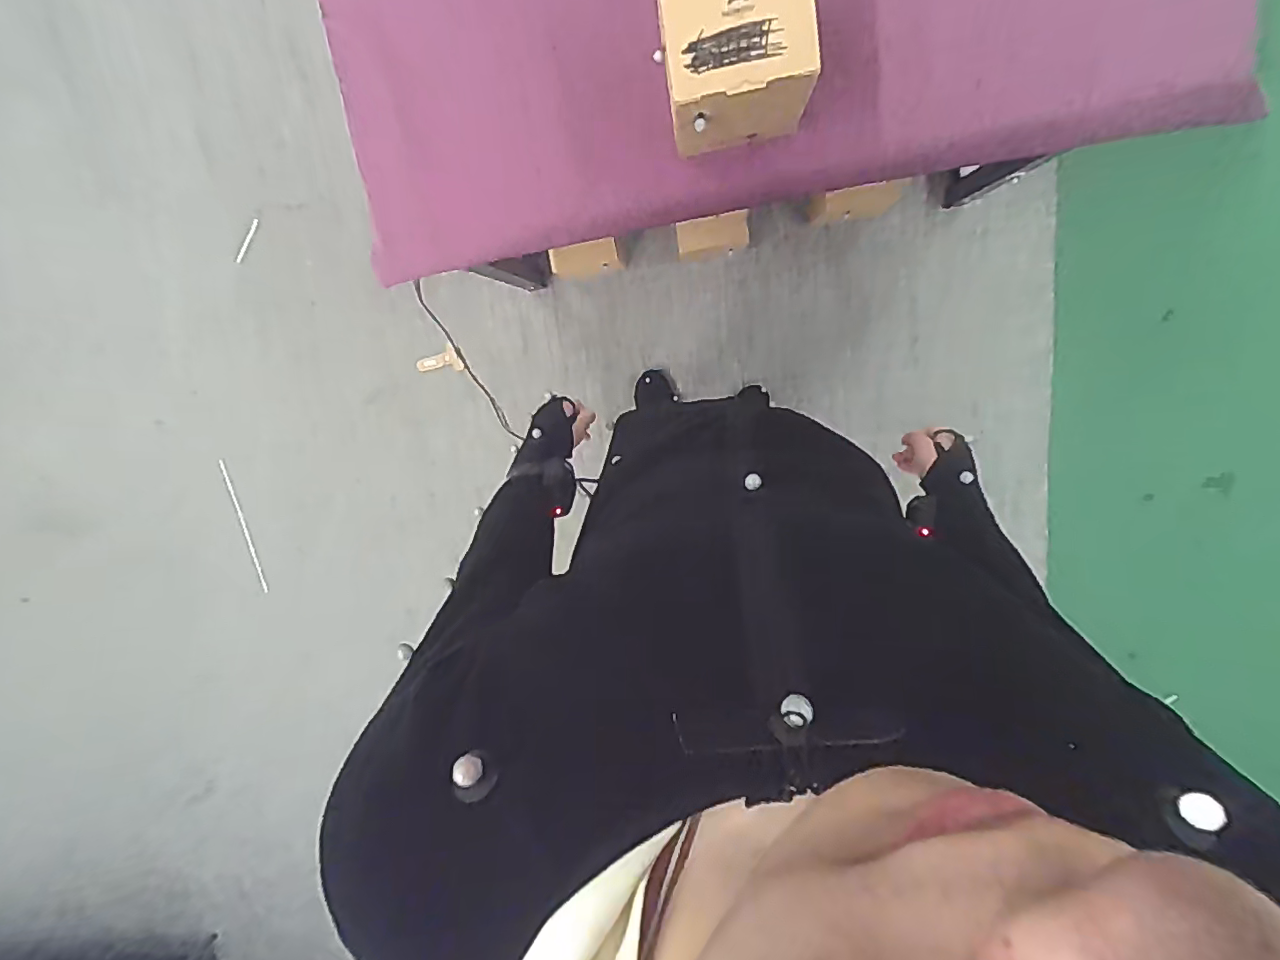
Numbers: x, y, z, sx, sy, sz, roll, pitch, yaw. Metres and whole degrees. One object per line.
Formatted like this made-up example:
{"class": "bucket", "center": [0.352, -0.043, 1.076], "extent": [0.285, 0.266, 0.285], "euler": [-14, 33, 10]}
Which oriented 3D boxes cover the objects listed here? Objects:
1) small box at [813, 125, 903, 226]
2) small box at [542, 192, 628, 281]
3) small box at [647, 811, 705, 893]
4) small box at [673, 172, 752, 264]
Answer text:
{"class": "small box", "center": [0.524, -0.733, 1.321], "extent": [0.179, 0.176, 0.168], "euler": [-5, 103, 8]}
{"class": "small box", "center": [-0.138, -0.629, 1.420], "extent": [0.179, 0.176, 0.168], "euler": [-8, 103, 8]}
{"class": "small box", "center": [0.126, 1.264, 1.845], "extent": [0.179, 0.176, 0.168], "euler": [-7, 103, 7]}
{"class": "small box", "center": [0.183, -0.659, 1.377], "extent": [0.179, 0.176, 0.168], "euler": [-7, 102, 8]}
